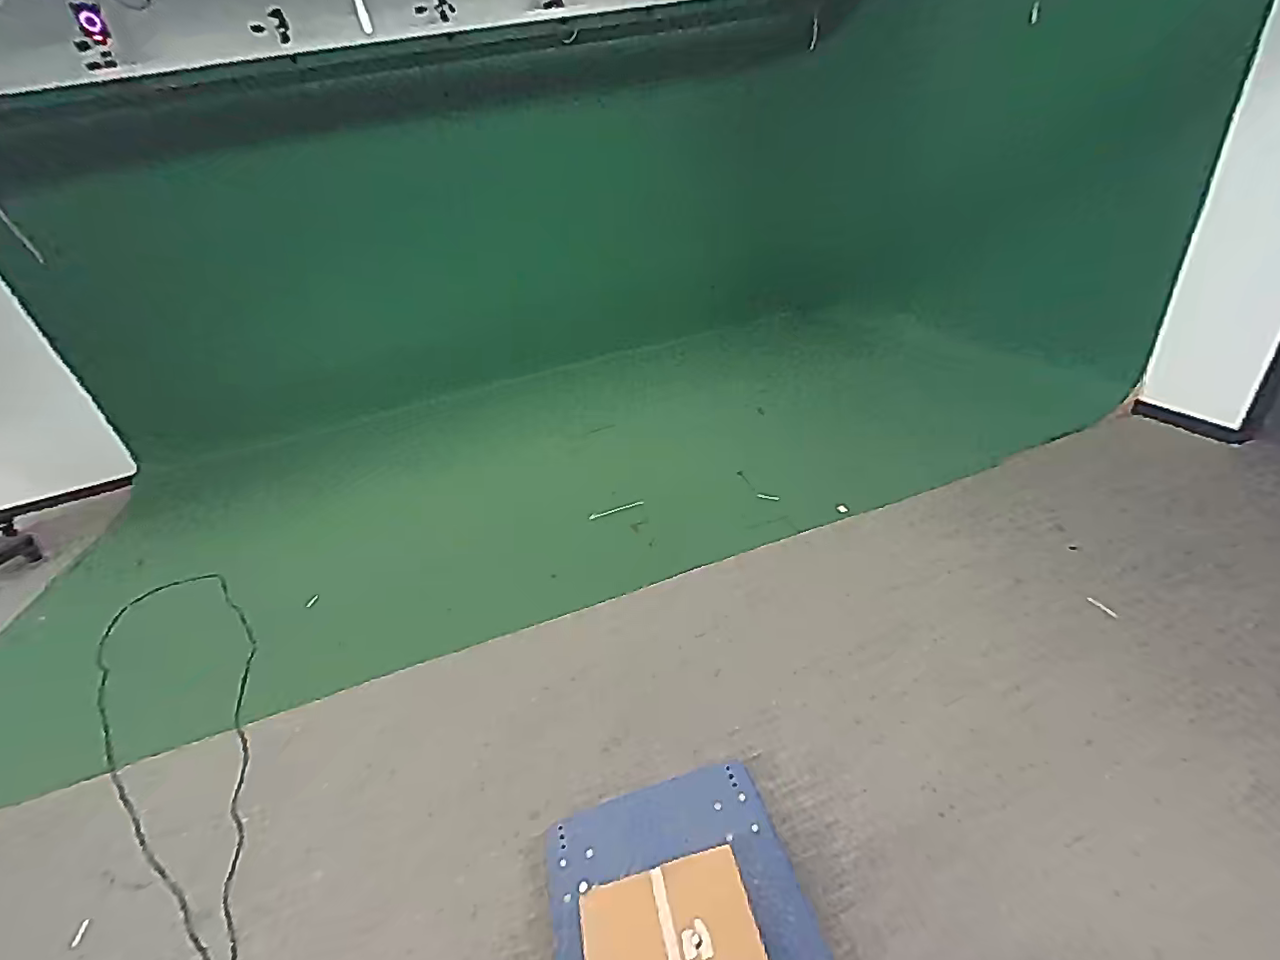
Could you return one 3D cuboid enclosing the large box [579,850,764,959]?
[{"bbox_3d":[0.096,1.000,0.977,0.320,0.320,0.408,-14,31,-6],"label":"large box"}]
